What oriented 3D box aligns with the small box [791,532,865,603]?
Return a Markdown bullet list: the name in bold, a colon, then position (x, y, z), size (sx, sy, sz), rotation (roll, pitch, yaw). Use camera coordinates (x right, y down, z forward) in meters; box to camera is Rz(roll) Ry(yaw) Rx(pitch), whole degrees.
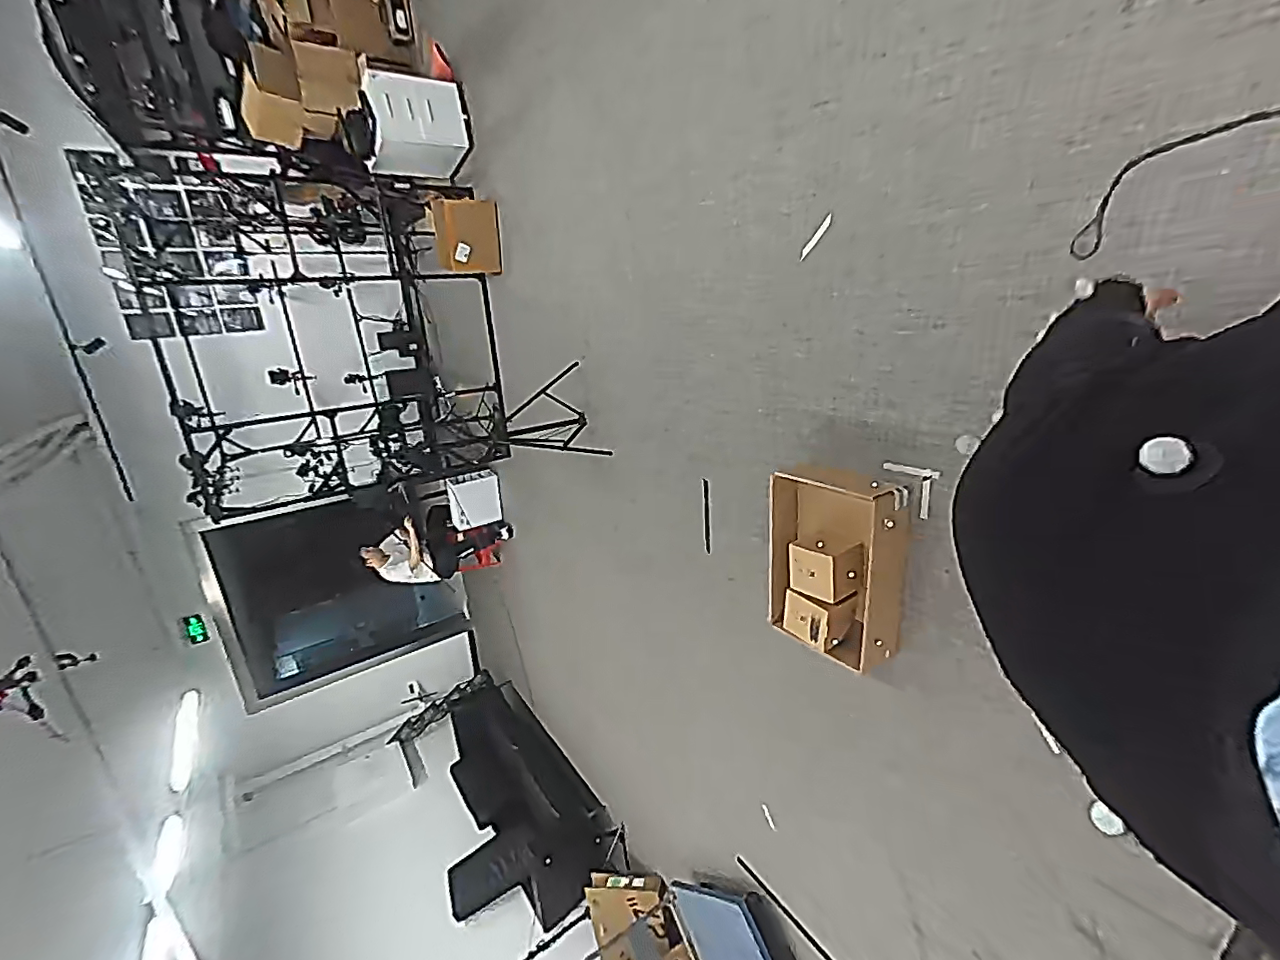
- **small box**: position (0.633, 0.286, 1.815), size (0.179, 0.176, 0.168), rotation (15, 115, 54)
